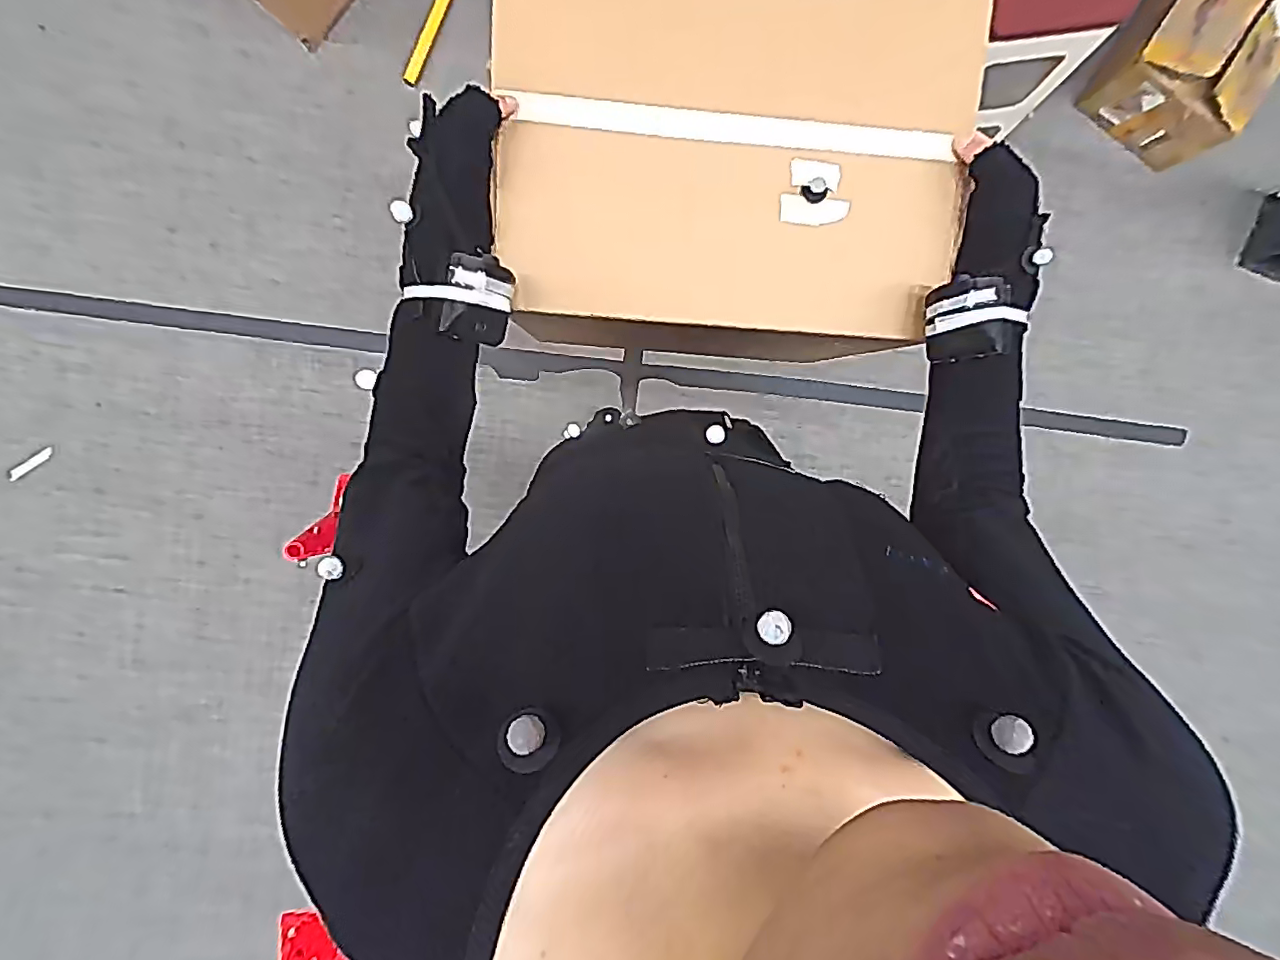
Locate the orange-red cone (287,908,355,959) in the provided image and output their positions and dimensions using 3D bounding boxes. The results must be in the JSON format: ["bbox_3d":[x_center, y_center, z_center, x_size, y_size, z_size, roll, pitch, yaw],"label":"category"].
[{"bbox_3d":[-0.939,1.387,1.432,0.198,0.360,0.199,4,98,-3],"label":"orange-red cone"}]

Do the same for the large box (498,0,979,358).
[{"bbox_3d":[0.069,-0.314,0.602,0.408,0.320,0.320,3,99,-5],"label":"large box"}]
